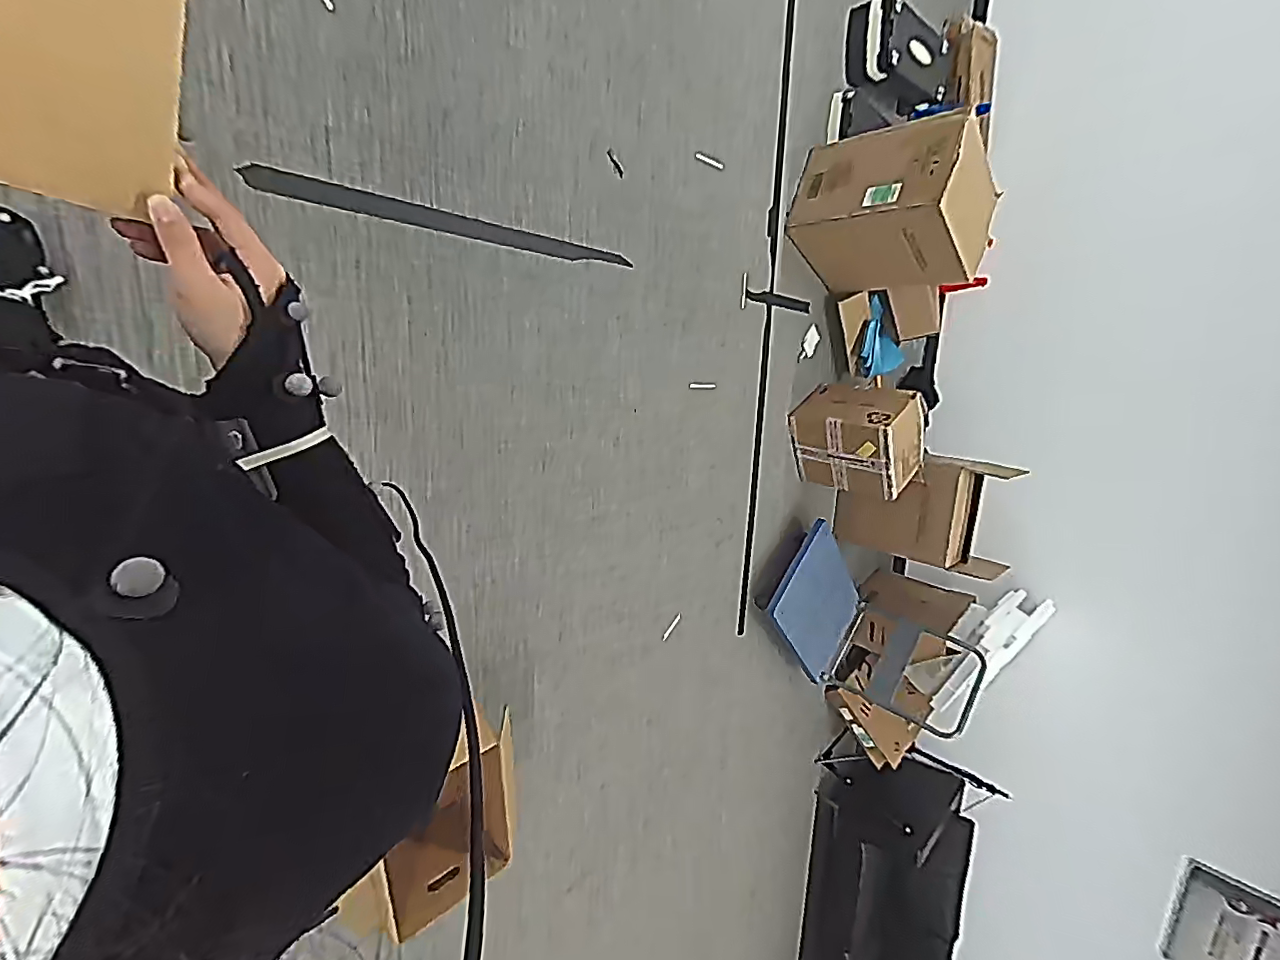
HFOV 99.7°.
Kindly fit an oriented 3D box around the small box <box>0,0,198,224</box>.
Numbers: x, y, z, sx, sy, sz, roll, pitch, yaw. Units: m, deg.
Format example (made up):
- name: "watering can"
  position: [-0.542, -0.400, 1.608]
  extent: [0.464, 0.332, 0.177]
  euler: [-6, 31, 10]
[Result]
- name: "small box"
  position: [-0.370, -0.266, 0.297]
  extent: [0.179, 0.176, 0.168]
  euler: [1, 115, -46]
